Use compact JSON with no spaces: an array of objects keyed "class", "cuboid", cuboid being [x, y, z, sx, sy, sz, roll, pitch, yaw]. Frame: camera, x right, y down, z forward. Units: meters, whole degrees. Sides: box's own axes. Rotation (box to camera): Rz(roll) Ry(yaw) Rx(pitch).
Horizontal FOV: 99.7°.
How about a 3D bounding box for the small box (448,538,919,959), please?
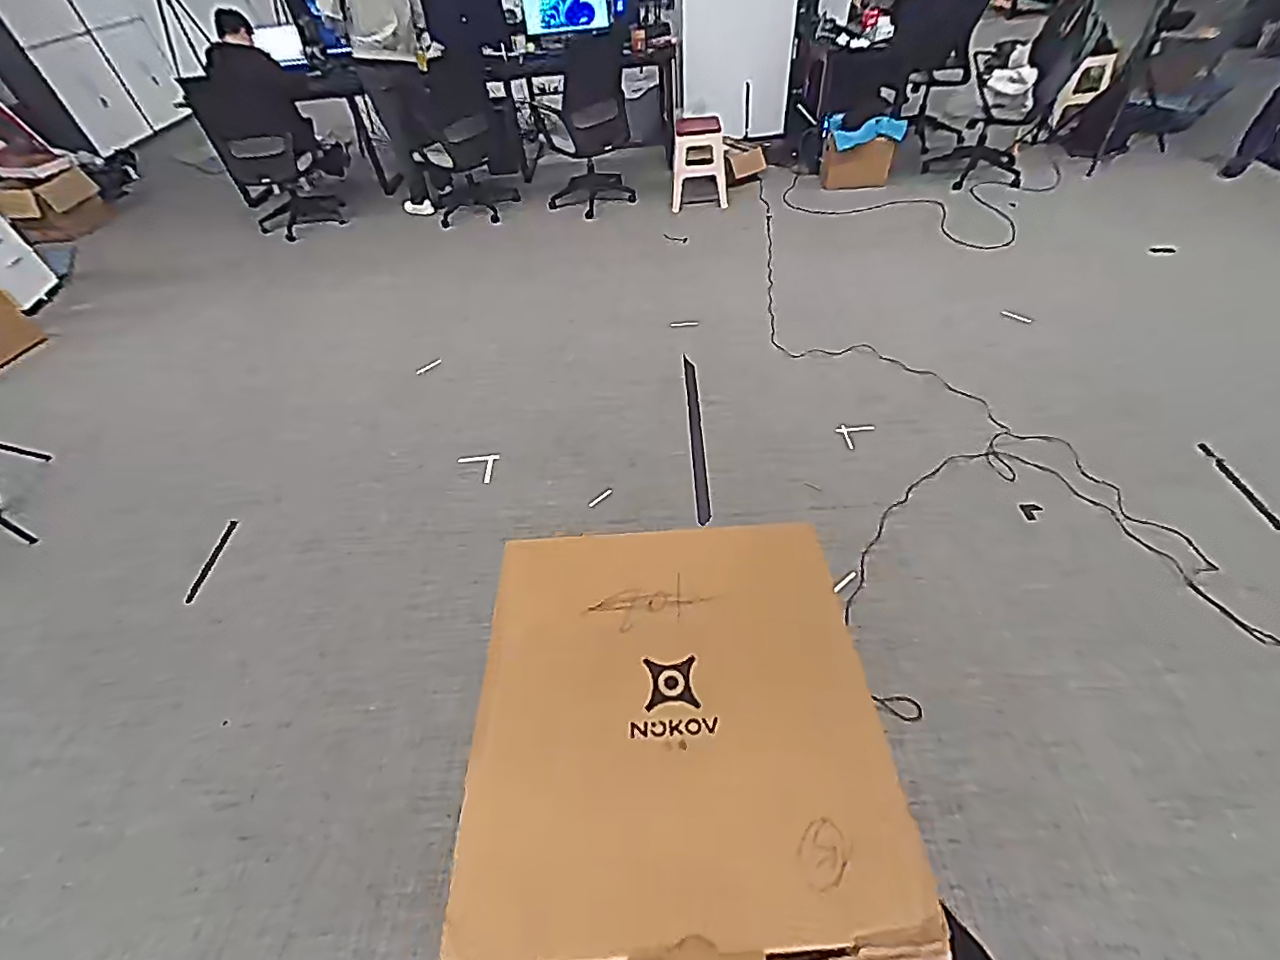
[{"class":"small box","cuboid":[0.016,0.154,0.297,0.168,0.176,0.179,-3,46,0]}]
